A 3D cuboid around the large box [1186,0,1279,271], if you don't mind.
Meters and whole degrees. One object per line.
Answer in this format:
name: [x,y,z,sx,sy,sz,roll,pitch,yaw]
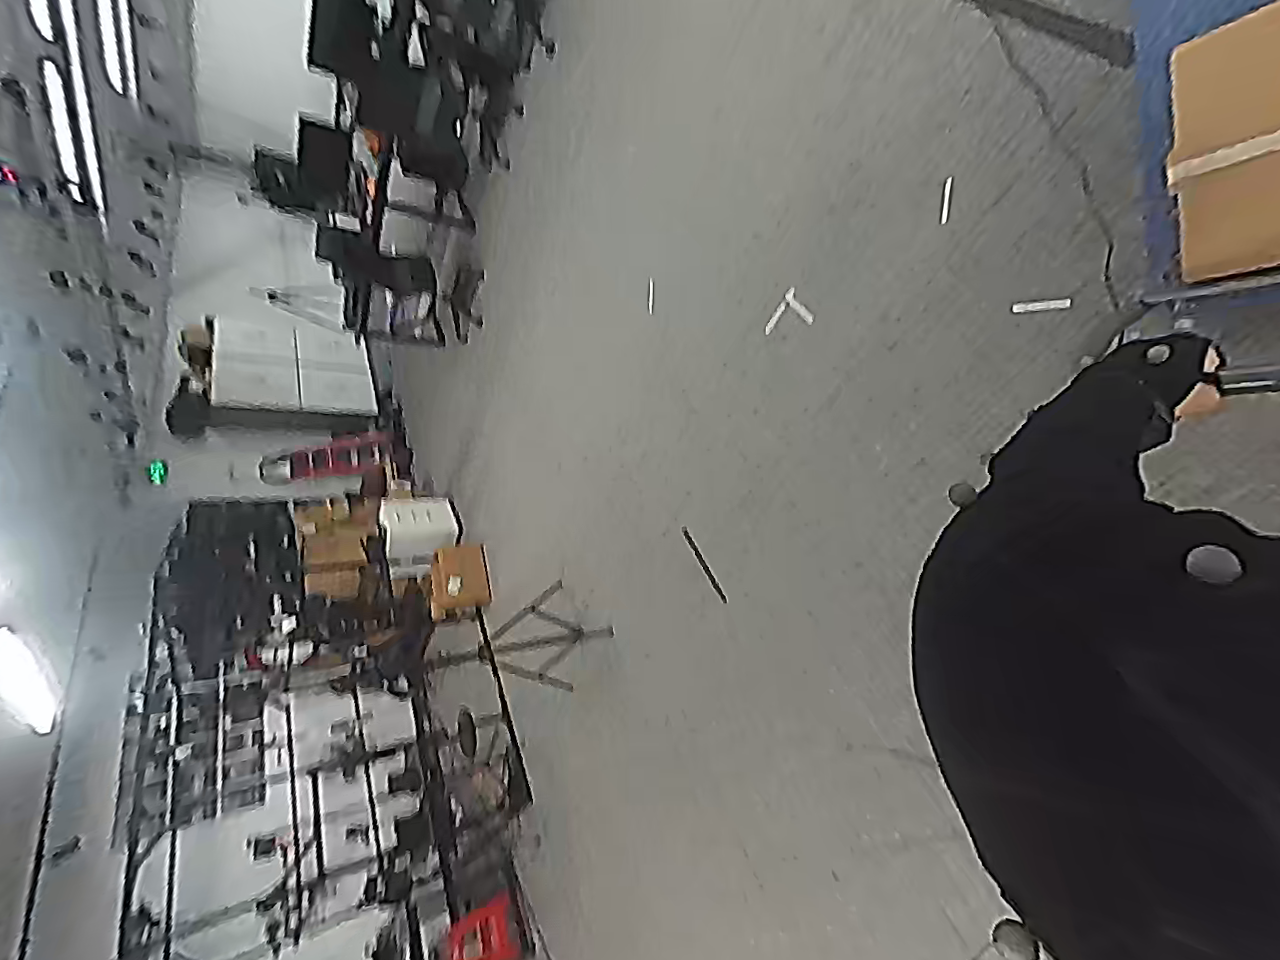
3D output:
large box: [0.998,-0.486,0.674,0.408,0.320,0.320,-1,107,53]
